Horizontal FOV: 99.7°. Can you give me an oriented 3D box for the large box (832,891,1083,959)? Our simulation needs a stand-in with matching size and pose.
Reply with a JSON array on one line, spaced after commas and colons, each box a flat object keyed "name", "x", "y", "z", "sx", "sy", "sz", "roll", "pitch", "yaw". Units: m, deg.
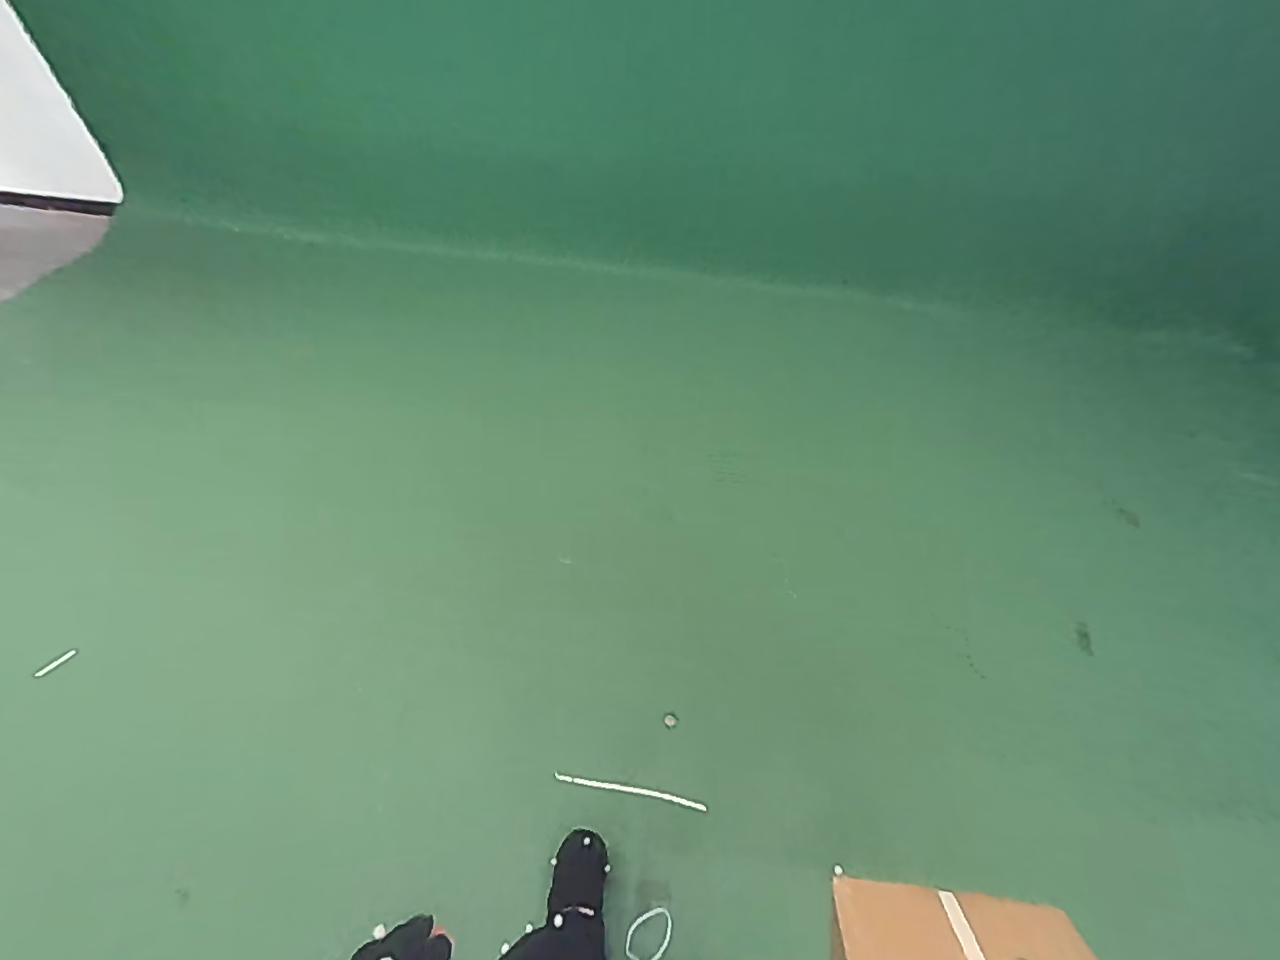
[{"name": "large box", "x": 0.402, "y": 0.776, "z": 0.596, "sx": 0.320, "sy": 0.408, "sz": 0.320, "roll": 2, "pitch": 92, "yaw": 11}]
